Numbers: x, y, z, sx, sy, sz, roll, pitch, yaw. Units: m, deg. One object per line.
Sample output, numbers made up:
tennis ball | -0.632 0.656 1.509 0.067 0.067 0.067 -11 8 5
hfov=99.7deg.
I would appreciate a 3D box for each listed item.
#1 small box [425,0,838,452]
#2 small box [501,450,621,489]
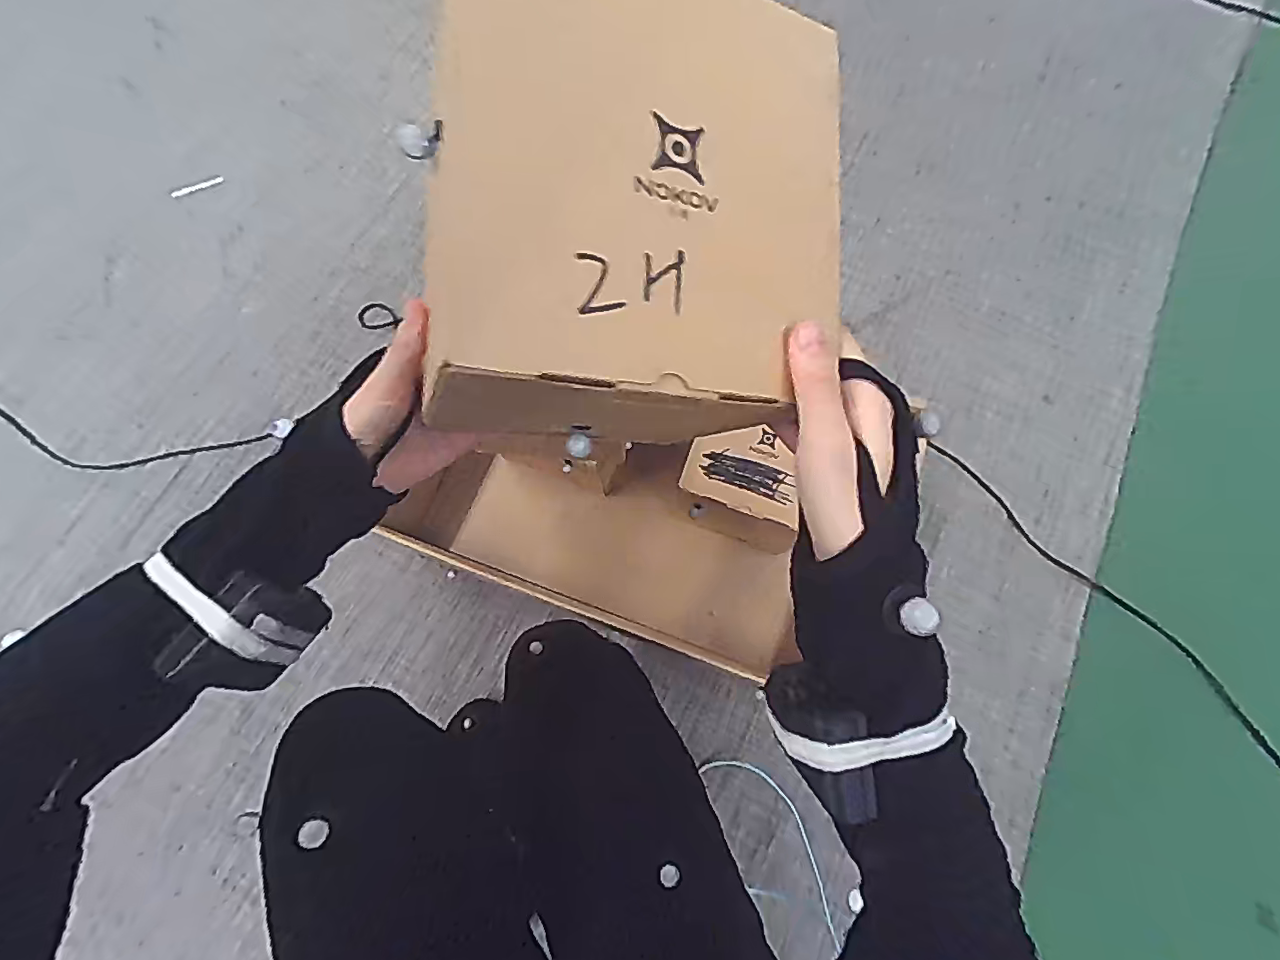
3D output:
small box | -0.020 -0.112 0.287 0.168 0.176 0.179 3 88 -23
small box | -0.105 -0.101 0.740 0.179 0.176 0.168 21 77 4
